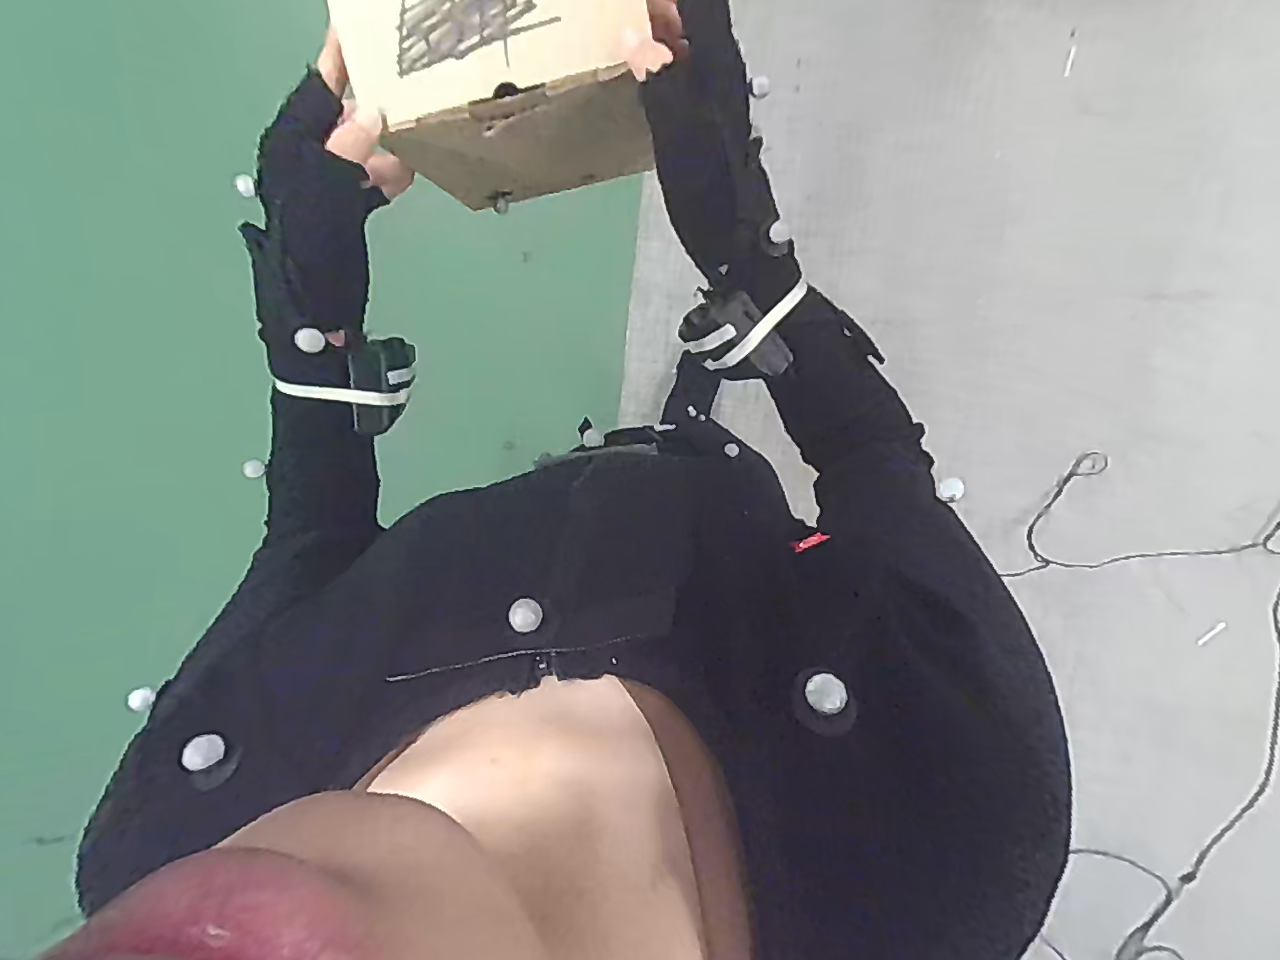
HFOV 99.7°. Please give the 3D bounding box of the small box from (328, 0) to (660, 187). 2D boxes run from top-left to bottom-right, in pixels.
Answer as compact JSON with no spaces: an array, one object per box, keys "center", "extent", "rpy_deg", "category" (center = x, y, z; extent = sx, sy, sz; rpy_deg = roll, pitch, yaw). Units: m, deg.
[{"center":[-0.082,-0.310,0.346],"extent":[0.168,0.176,0.179],"rpy_deg":[-10,101,6],"category":"small box"}]
